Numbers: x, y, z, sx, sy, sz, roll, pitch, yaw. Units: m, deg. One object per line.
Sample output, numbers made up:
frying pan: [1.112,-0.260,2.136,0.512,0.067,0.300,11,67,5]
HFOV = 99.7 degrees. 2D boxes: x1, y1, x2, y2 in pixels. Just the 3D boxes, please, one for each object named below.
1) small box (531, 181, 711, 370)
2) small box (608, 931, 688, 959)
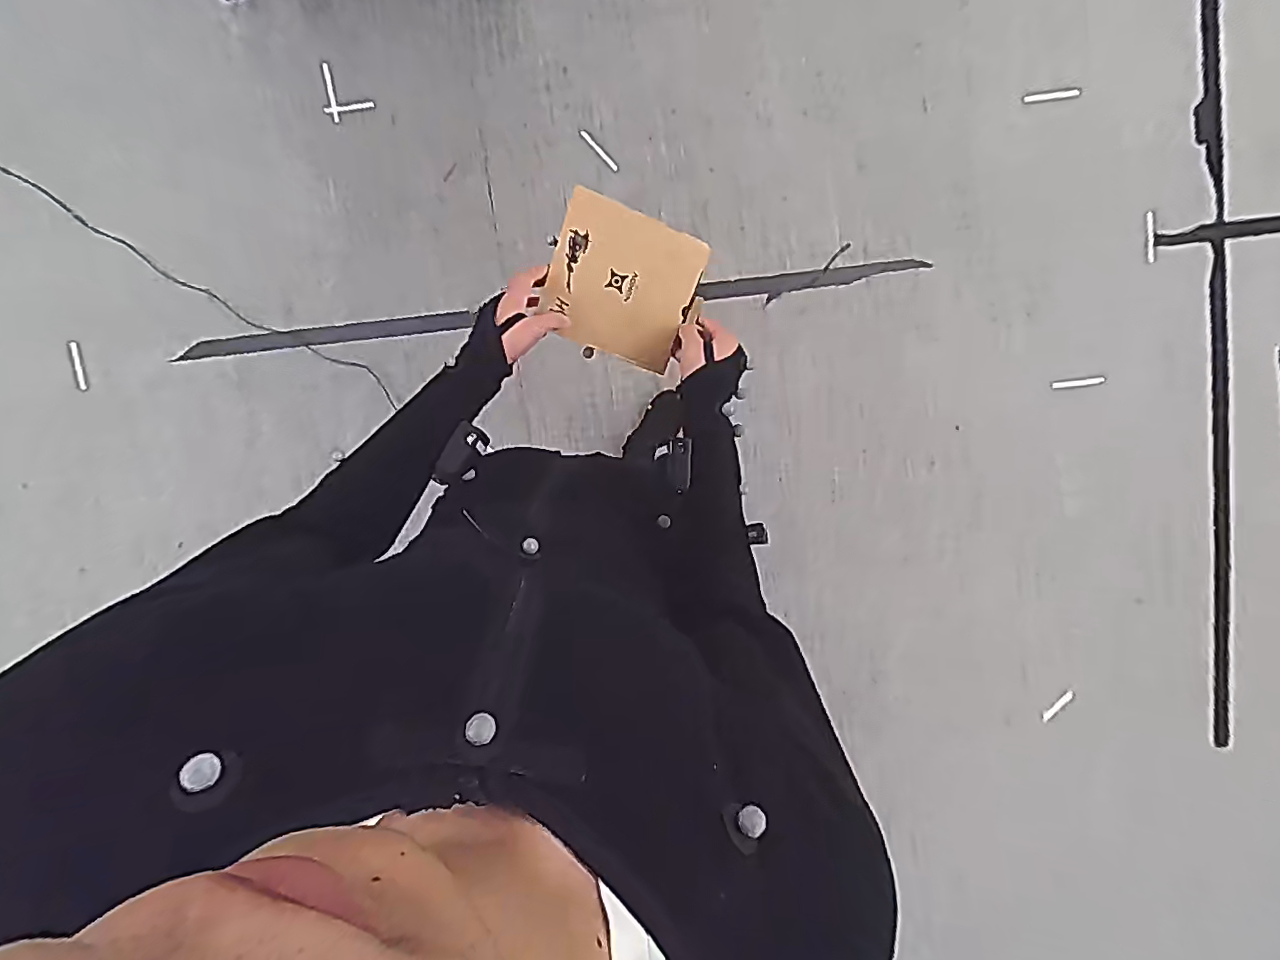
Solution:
small box: [-0.036,-0.261,0.717,0.179,0.176,0.168,18,102,-15]
small box: [0.010,1.063,1.087,0.168,0.176,0.179,9,98,-1]
